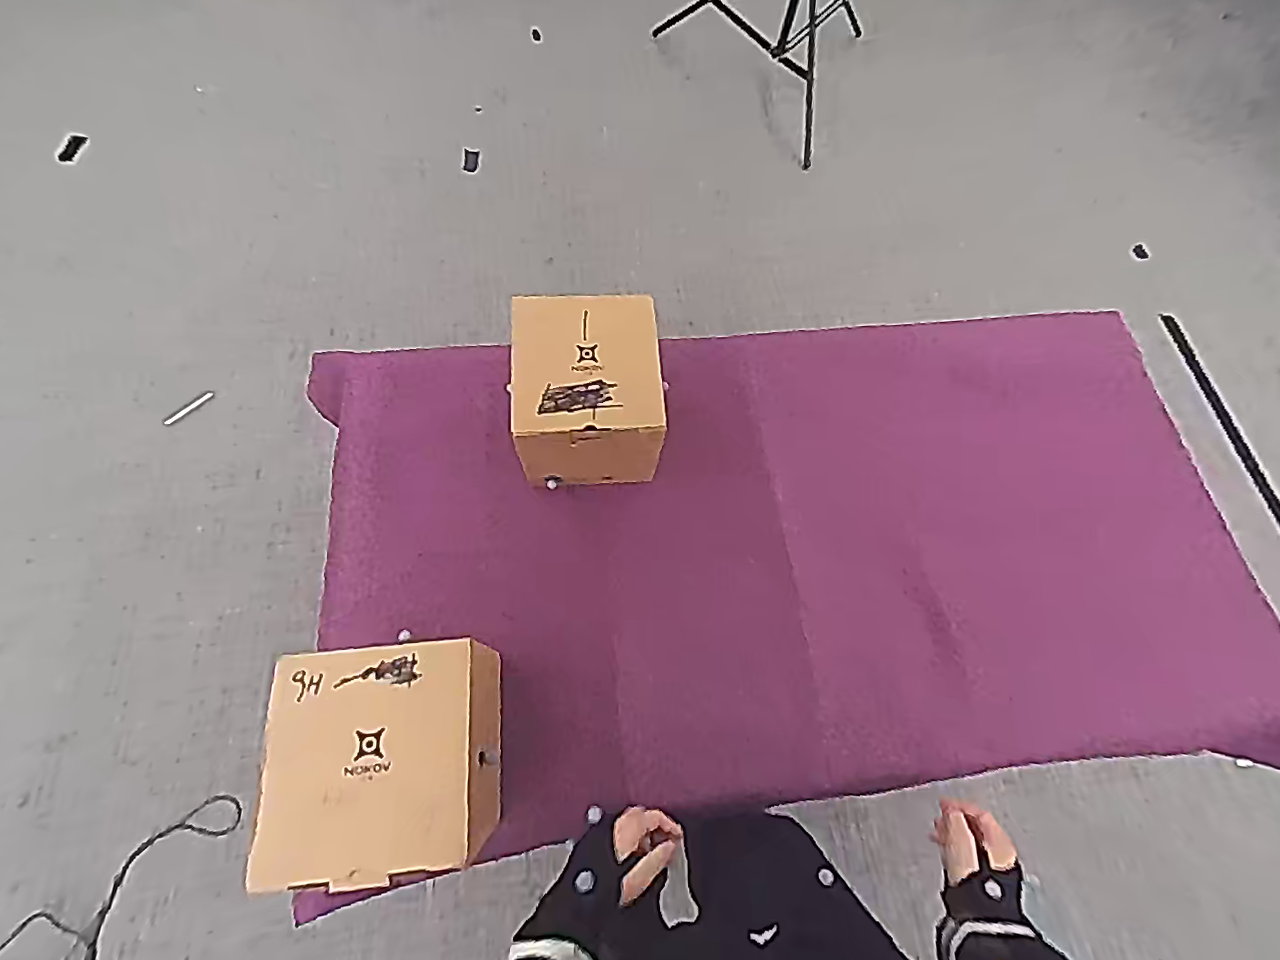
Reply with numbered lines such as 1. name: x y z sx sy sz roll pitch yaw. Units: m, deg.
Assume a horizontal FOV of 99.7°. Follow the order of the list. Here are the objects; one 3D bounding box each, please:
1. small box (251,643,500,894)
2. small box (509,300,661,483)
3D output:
1. small box: -0.231 0.259 0.524 0.168 0.176 0.179 -4 69 -7
2. small box: -0.068 -0.100 0.679 0.168 0.176 0.179 -3 69 -6
